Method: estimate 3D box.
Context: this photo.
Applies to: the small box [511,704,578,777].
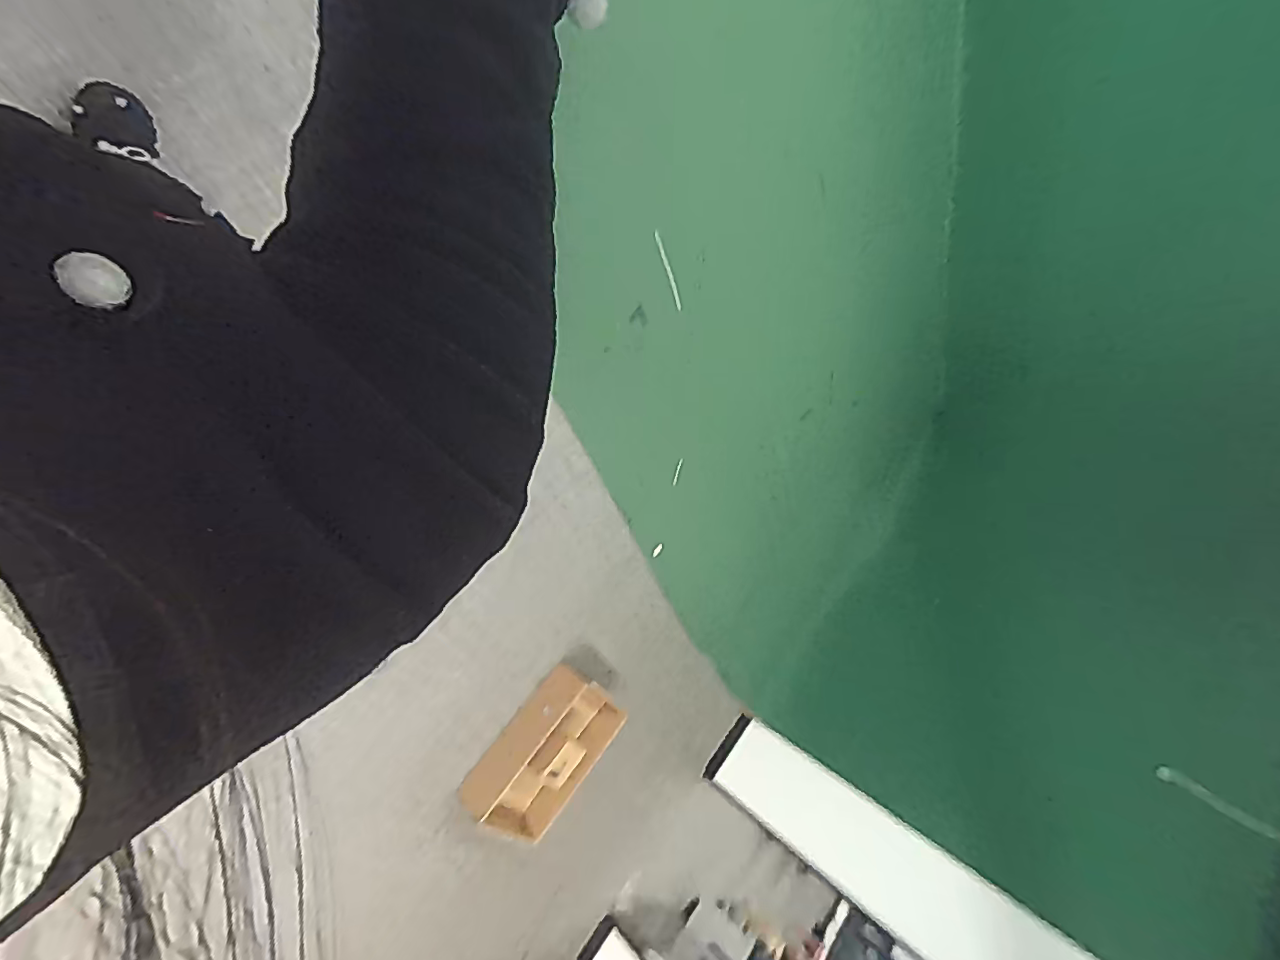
[{"bbox_3d":[-0.387,1.035,2.155,0.179,0.176,0.168,-50,139,-21],"label":"small box"}]
